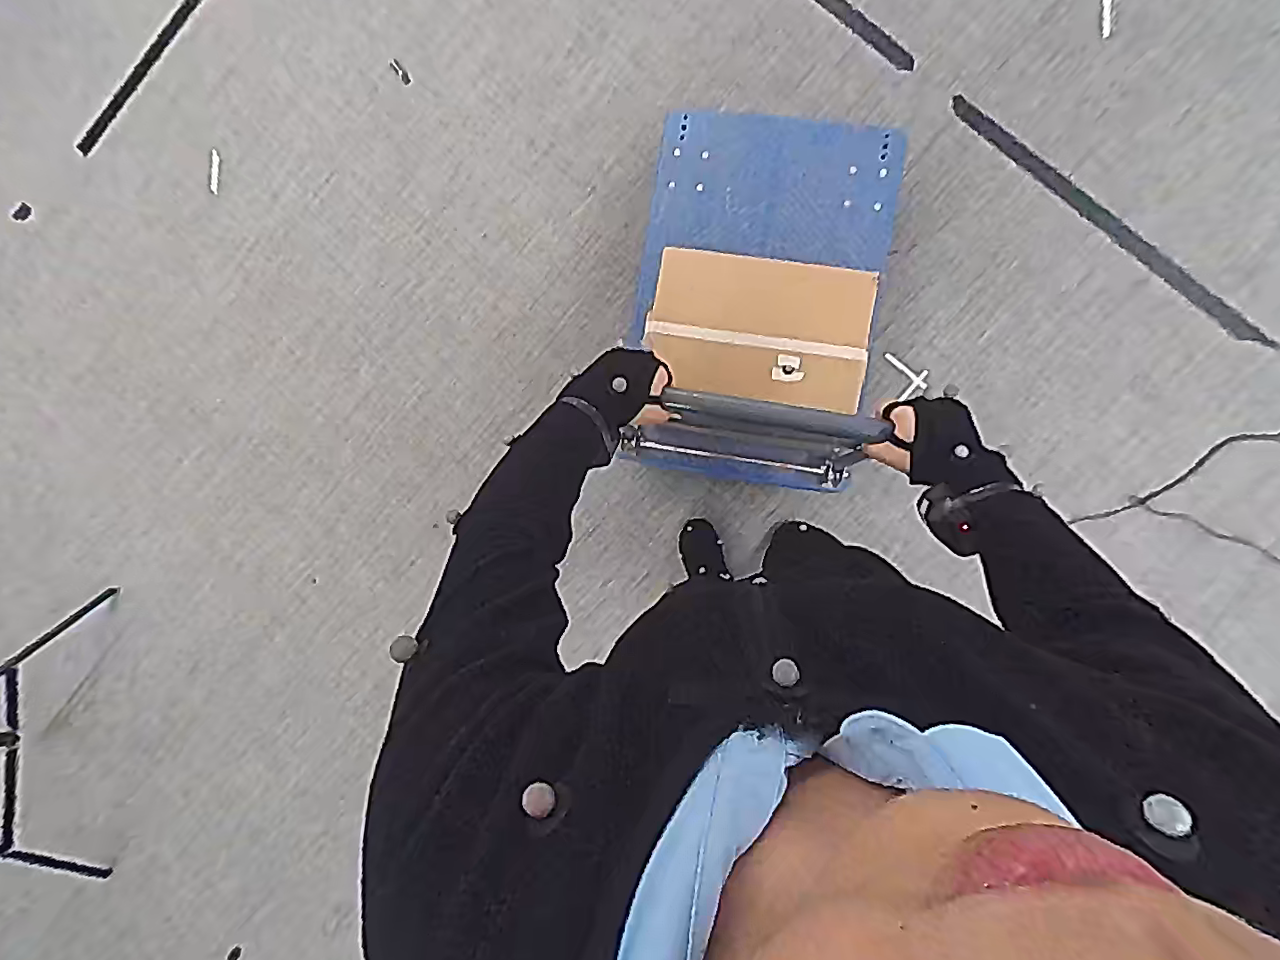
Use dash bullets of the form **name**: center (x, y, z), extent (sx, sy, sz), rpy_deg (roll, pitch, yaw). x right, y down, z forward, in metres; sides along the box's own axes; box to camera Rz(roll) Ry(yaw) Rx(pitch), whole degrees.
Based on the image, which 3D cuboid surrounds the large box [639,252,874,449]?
- **large box**: center (0.226, -0.255, 1.164), extent (0.408, 0.320, 0.320), rpy_deg (10, 91, 5)
